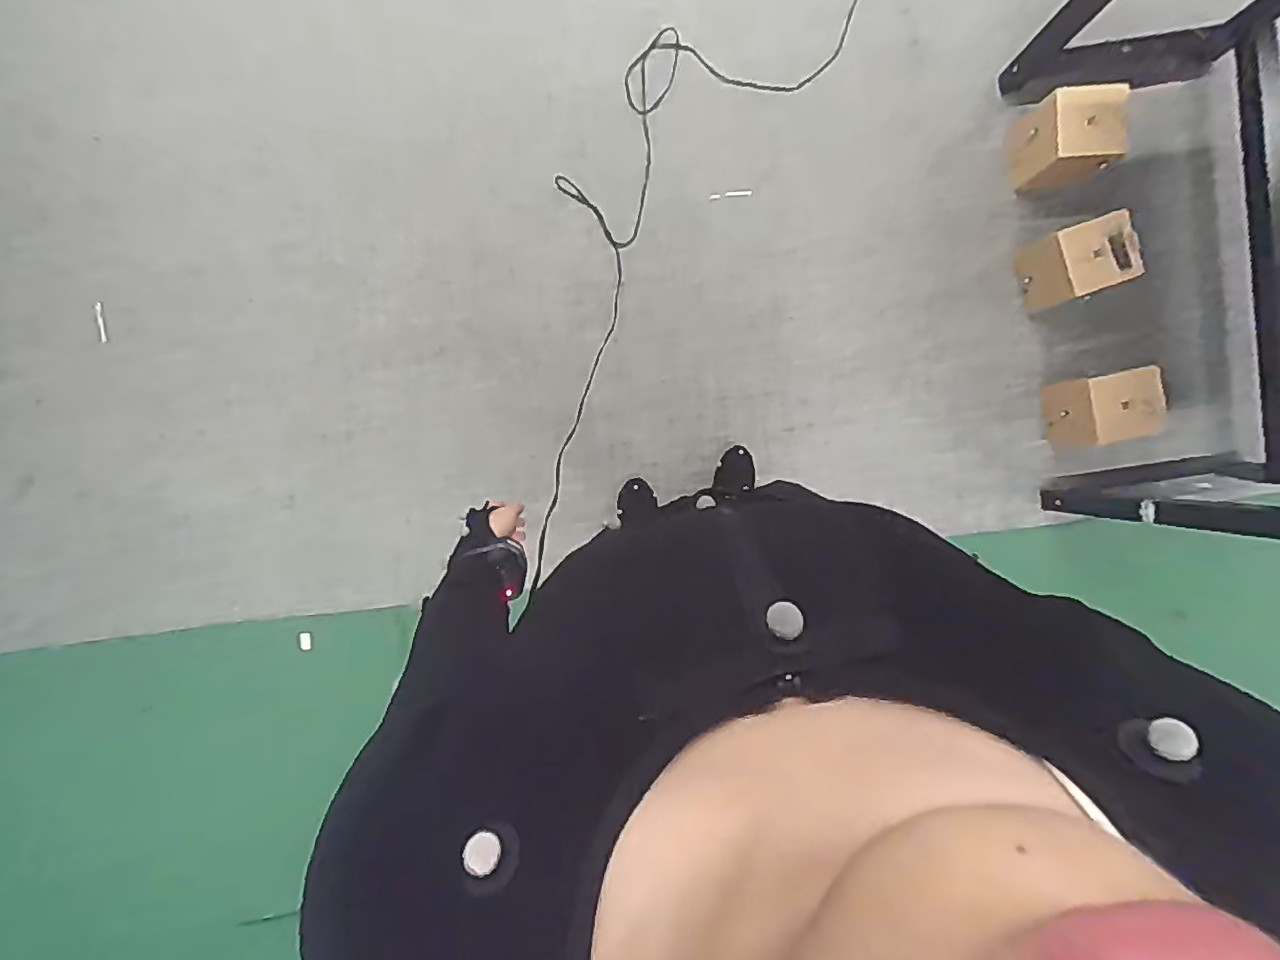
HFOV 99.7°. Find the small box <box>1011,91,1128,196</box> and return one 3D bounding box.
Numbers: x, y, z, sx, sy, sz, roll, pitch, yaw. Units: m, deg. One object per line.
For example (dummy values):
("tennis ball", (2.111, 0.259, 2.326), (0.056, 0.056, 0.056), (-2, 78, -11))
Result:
("small box", (1.076, -0.844, 1.371), (0.179, 0.176, 0.168), (-3, 92, 0))

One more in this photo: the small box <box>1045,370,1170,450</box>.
("small box", (1.184, -0.173, 1.389), (0.179, 0.176, 0.168), (-12, 92, 1))
